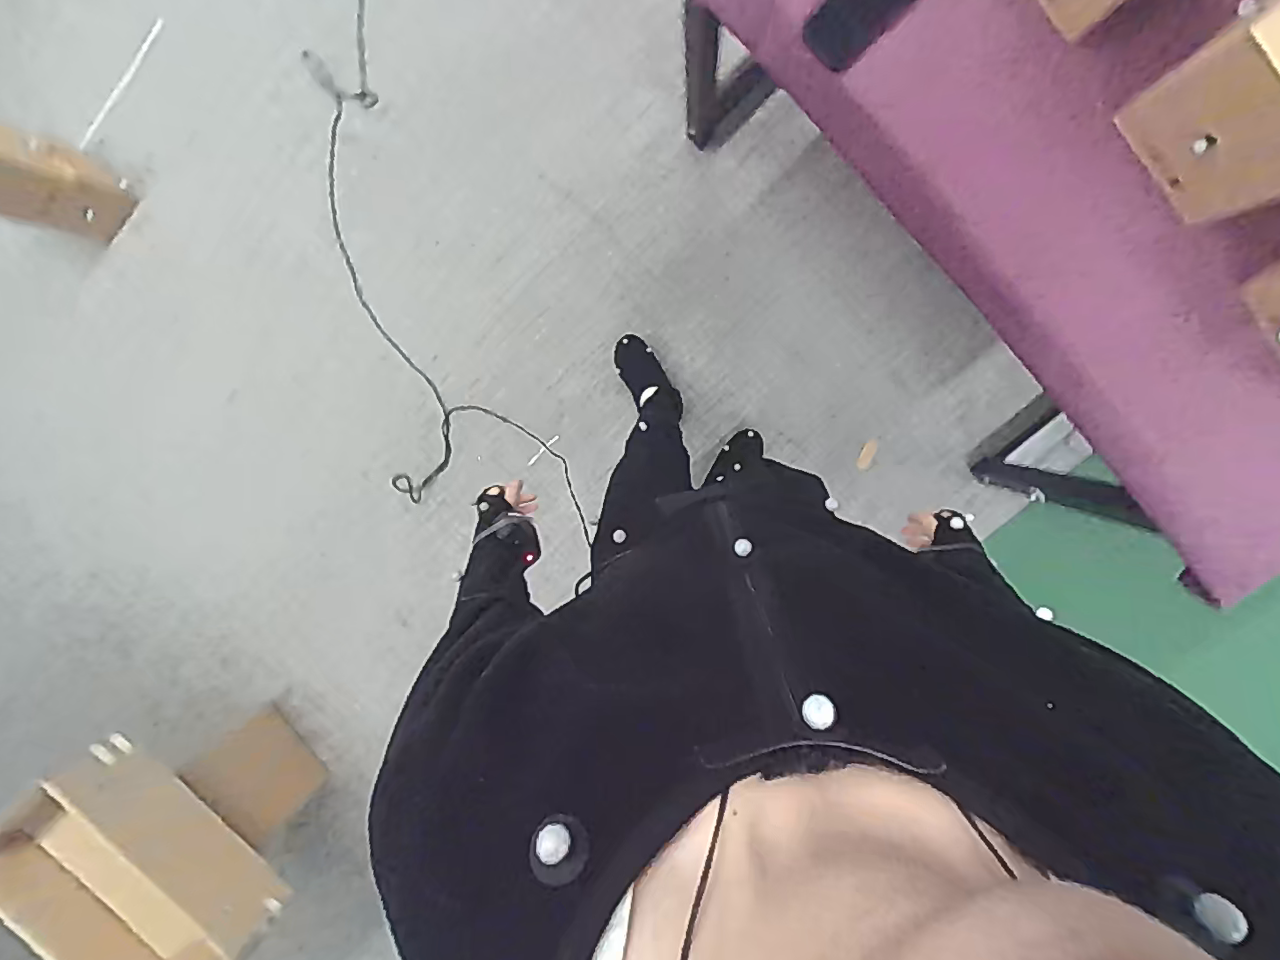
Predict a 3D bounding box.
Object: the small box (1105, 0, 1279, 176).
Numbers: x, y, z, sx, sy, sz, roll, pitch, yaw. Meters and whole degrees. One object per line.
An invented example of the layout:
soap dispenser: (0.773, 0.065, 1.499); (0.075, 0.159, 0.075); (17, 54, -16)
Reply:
small box: (0.628, -0.451, 0.540); (0.179, 0.176, 0.168); (-43, 93, 11)

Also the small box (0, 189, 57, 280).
small box: (-1.608, -0.615, 1.315); (0.179, 0.176, 0.168); (43, 101, -1)
